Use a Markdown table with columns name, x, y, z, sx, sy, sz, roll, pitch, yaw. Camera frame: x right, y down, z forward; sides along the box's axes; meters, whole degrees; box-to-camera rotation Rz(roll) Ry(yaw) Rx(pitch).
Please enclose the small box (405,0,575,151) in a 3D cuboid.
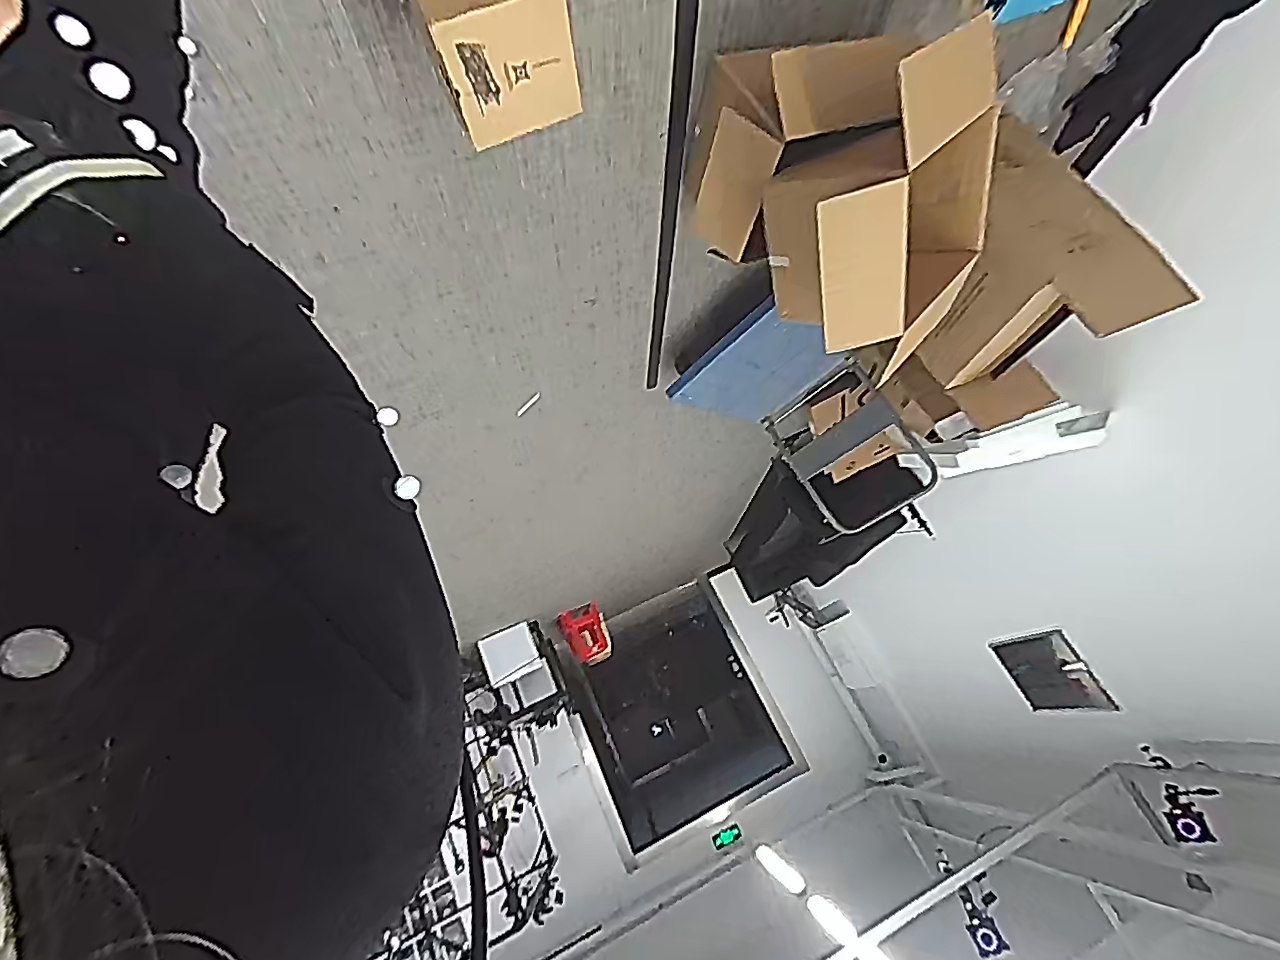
| name | x | y | z | sx | sy | sz | roll | pitch | yaw |
| --- | --- | --- | --- | --- | --- | --- | --- | --- | --- |
| small box | -0.211 | -0.611 | 0.754 | 0.179 | 0.176 | 0.168 | -25 | 160 | -8 |
